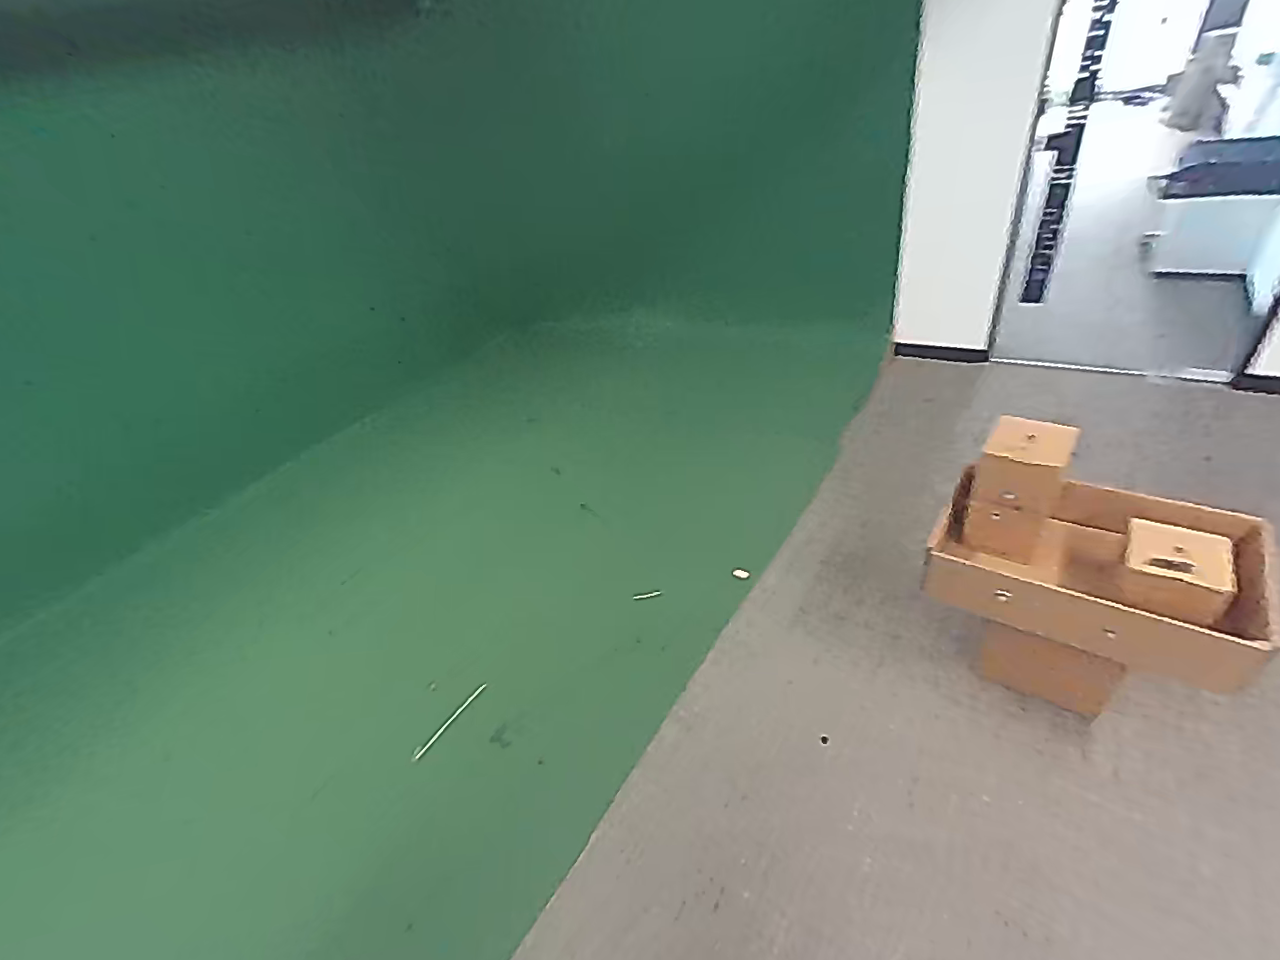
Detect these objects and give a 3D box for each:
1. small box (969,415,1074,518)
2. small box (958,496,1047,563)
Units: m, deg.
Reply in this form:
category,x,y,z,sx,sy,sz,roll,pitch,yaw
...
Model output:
category,x,y,z,sx,sy,sz,roll,pitch,yaw
small box,0.953,-0.036,1.362,0.168,0.176,0.179,21,50,37
small box,0.984,0.090,1.464,0.168,0.176,0.179,19,49,35
